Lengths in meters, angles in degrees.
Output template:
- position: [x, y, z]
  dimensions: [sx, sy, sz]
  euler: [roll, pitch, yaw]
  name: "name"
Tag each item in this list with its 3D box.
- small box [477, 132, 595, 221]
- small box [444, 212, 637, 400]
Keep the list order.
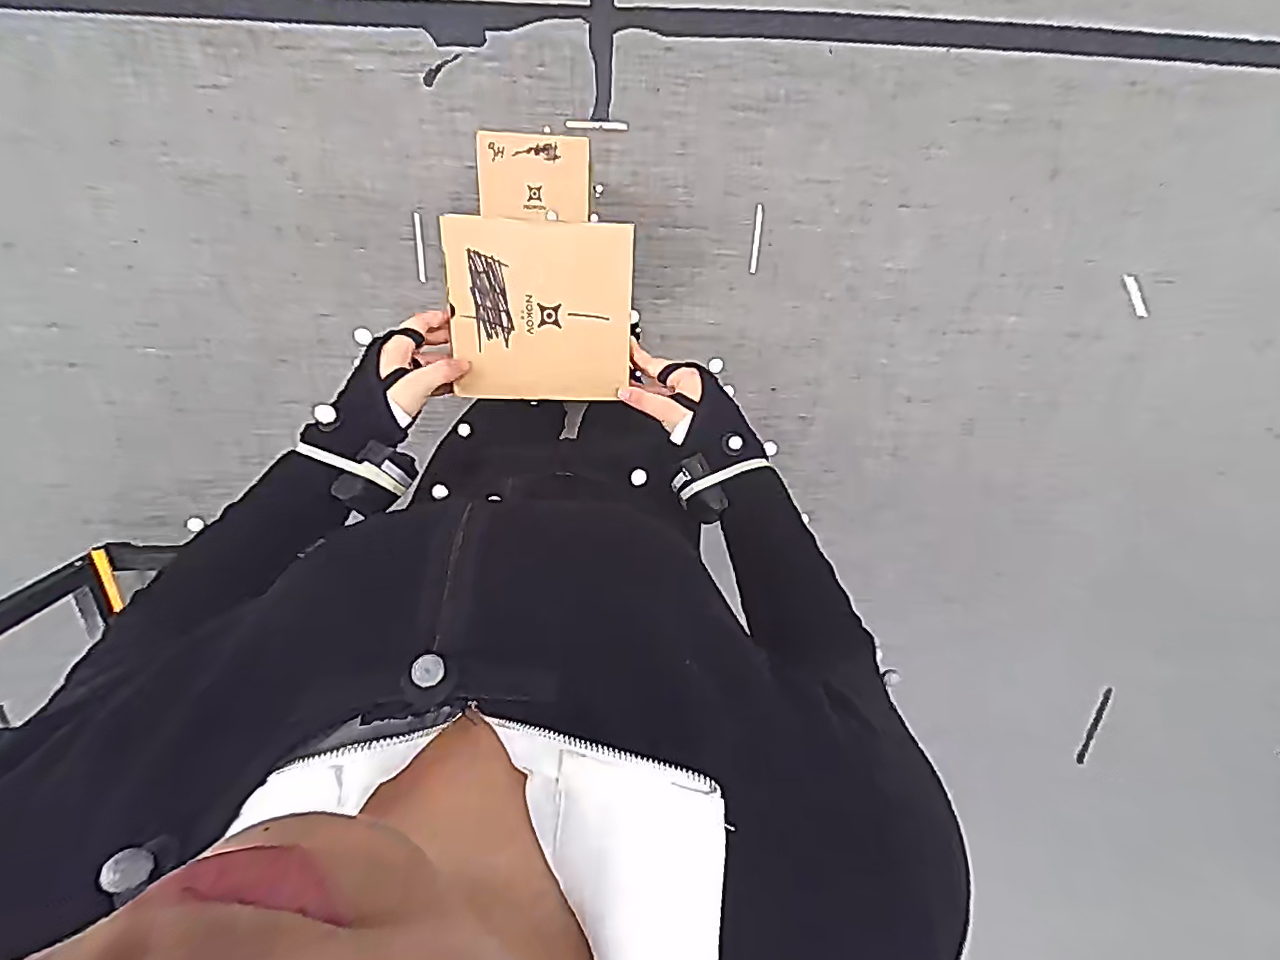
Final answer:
- position: [-0.161, -0.449, 0.887]
  dimensions: [0.168, 0.176, 0.179]
  euler: [2, 112, -3]
  name: "small box"
- position: [-0.099, -0.186, 0.588]
  dimensions: [0.179, 0.176, 0.168]
  euler: [0, 111, -6]
  name: "small box"
